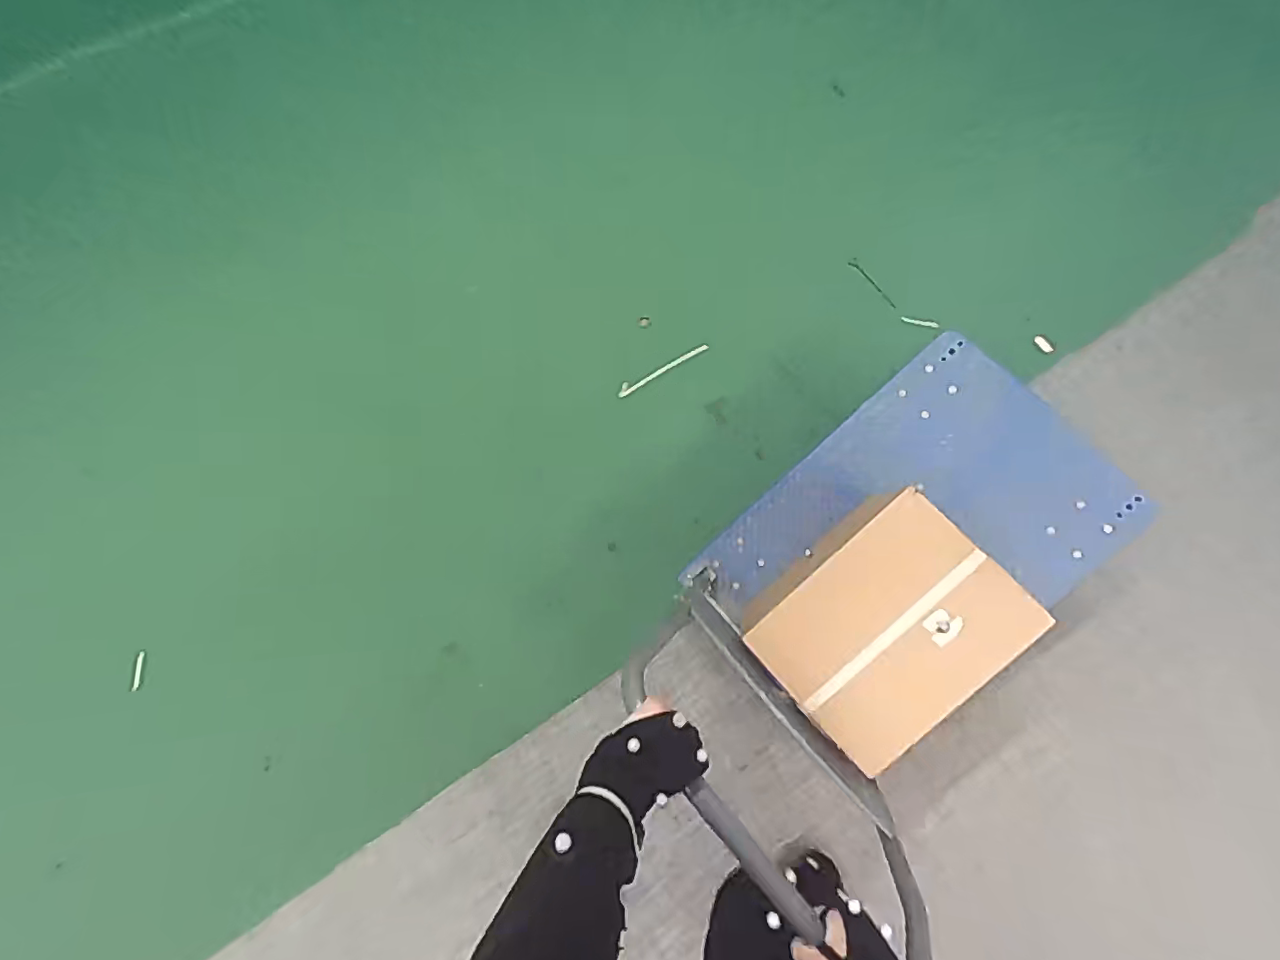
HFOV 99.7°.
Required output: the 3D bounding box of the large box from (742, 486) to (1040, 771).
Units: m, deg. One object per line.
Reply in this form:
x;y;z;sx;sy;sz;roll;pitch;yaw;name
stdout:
0.452;0.270;1.083;0.408;0.320;0.320;-43;80;4;large box
